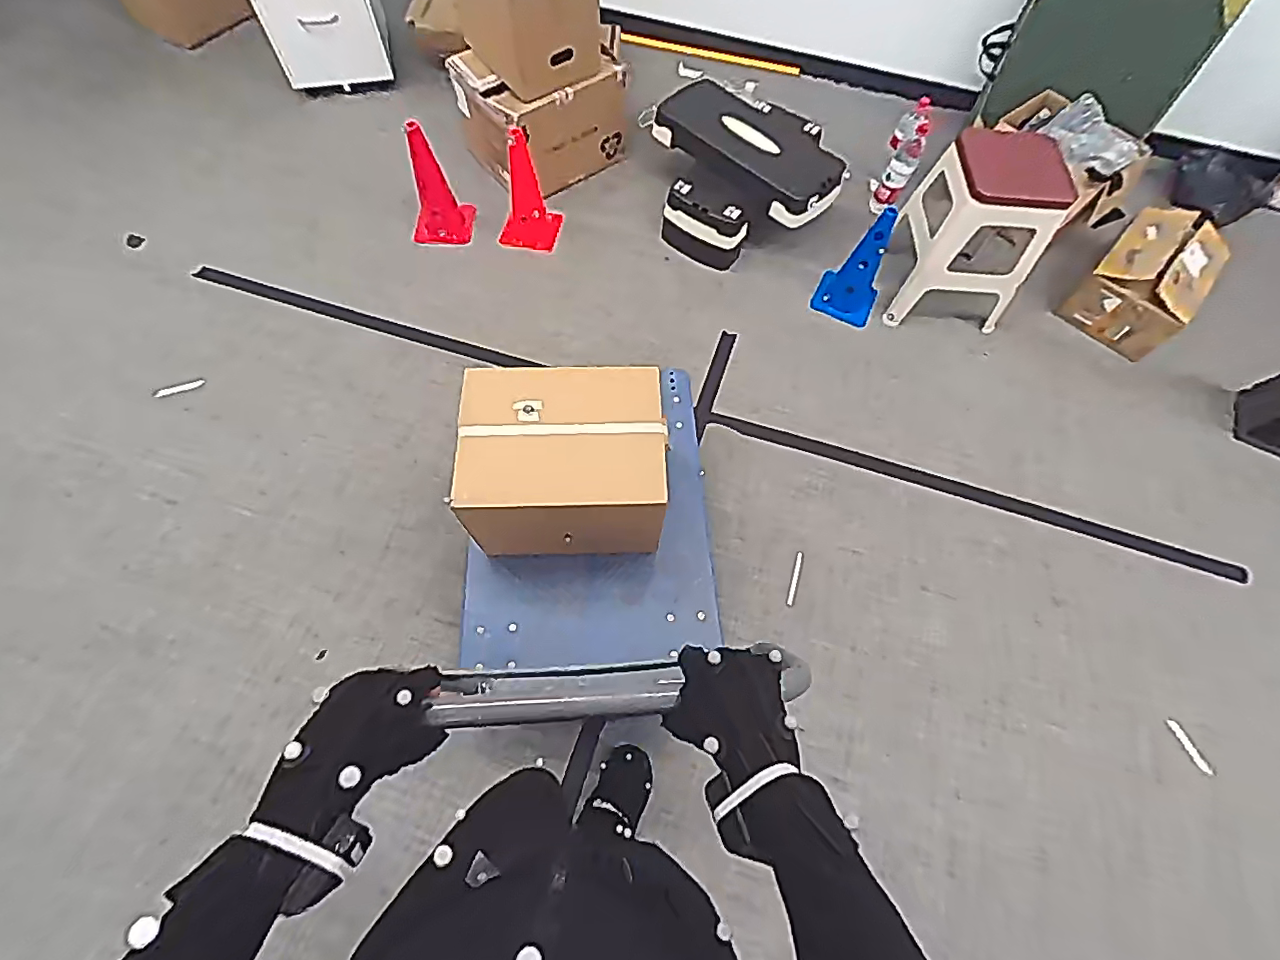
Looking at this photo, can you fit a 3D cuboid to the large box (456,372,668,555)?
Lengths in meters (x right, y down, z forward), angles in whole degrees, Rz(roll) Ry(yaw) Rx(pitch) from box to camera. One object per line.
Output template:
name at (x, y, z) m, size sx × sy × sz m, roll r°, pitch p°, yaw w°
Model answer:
large box at (-0.153, -0.024, 1.208) m, size 0.408 × 0.320 × 0.320 m, roll -1°, pitch 65°, yaw -2°
